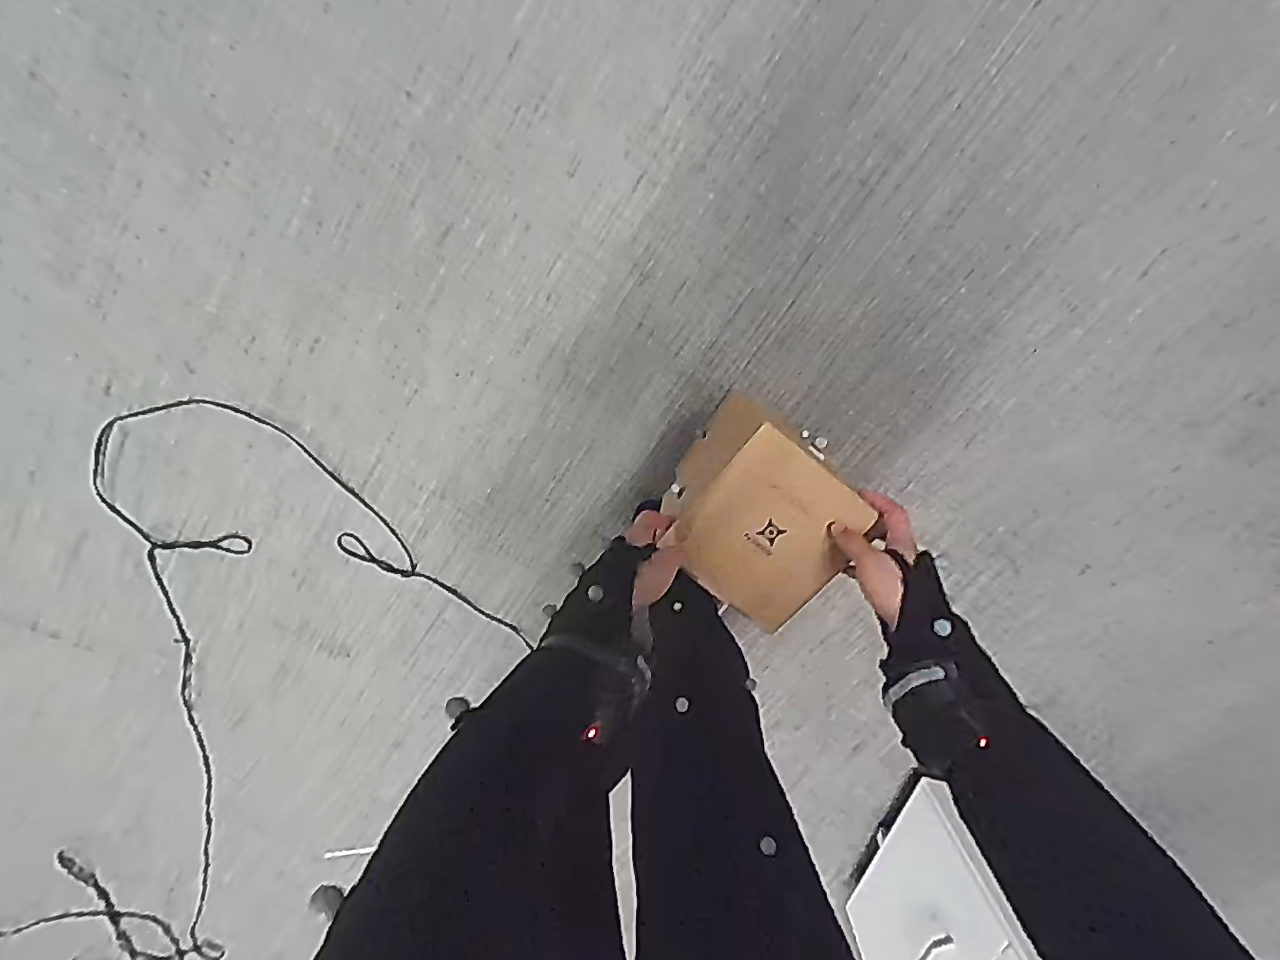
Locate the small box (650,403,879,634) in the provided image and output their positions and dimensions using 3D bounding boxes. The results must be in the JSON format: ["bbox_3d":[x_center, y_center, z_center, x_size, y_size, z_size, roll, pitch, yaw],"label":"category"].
[{"bbox_3d":[0.133,0.034,0.629,0.168,0.176,0.179,38,106,-7],"label":"small box"}]

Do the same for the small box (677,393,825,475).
[{"bbox_3d":[0.171,-0.019,0.885,0.168,0.176,0.179,32,105,-9],"label":"small box"}]
